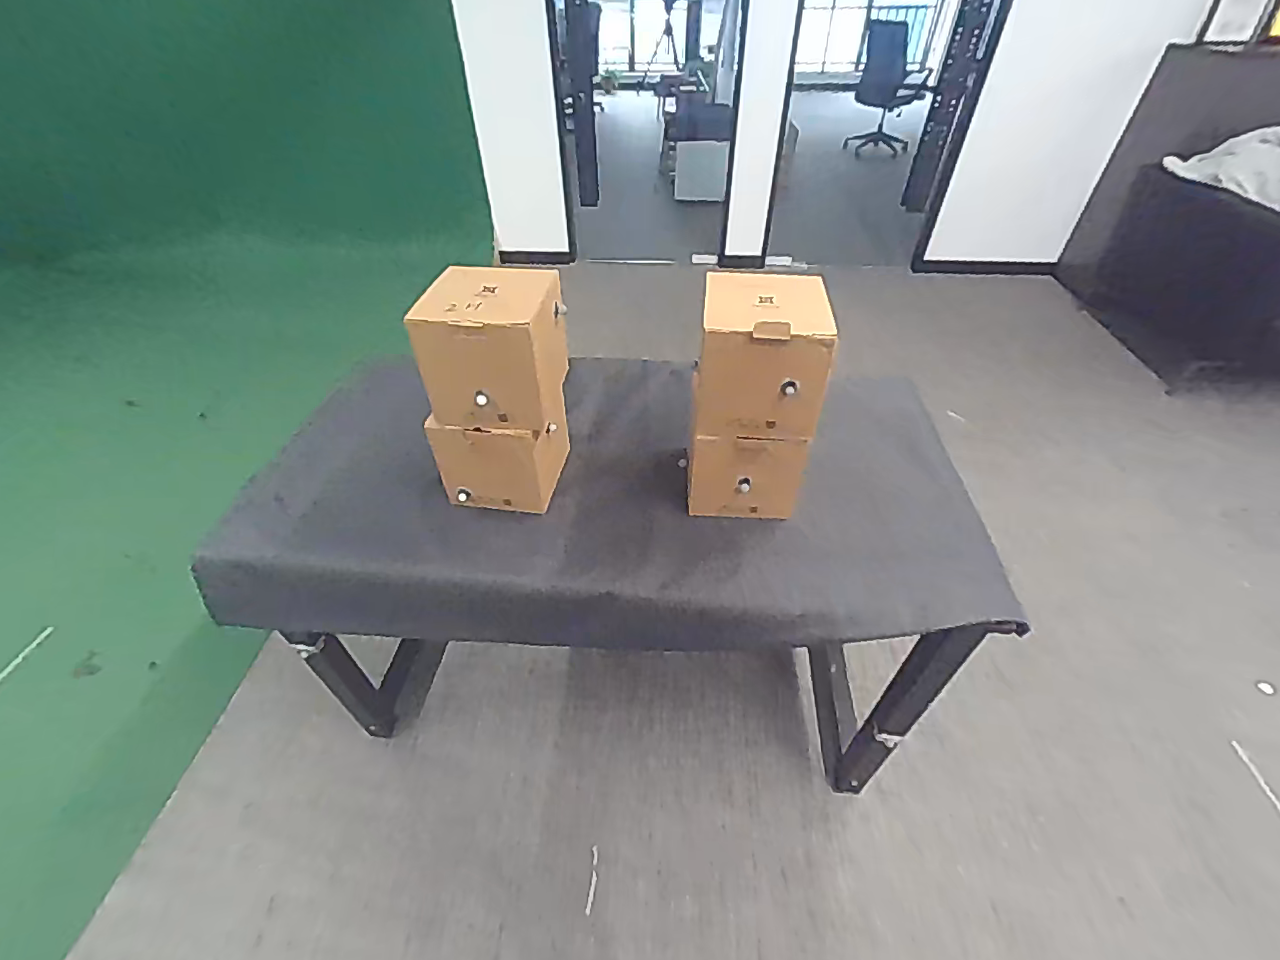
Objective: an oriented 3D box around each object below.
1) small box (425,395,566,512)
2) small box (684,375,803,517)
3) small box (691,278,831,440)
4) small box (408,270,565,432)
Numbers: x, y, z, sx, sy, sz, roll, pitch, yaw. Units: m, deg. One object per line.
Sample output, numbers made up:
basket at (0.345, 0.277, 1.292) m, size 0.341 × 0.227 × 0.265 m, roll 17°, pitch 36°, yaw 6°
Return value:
small box at (-0.226, -0.066, 0.905) m, size 0.168 × 0.176 × 0.179 m, roll 6°, pitch 42°, yaw 6°
small box at (0.160, -0.055, 0.890) m, size 0.168 × 0.176 × 0.179 m, roll 2°, pitch 43°, yaw 2°
small box at (0.164, -0.174, 0.779) m, size 0.168 × 0.176 × 0.179 m, roll 4°, pitch 42°, yaw 4°
small box at (-0.210, -0.192, 0.798) m, size 0.168 × 0.176 × 0.179 m, roll 3°, pitch 43°, yaw 4°
